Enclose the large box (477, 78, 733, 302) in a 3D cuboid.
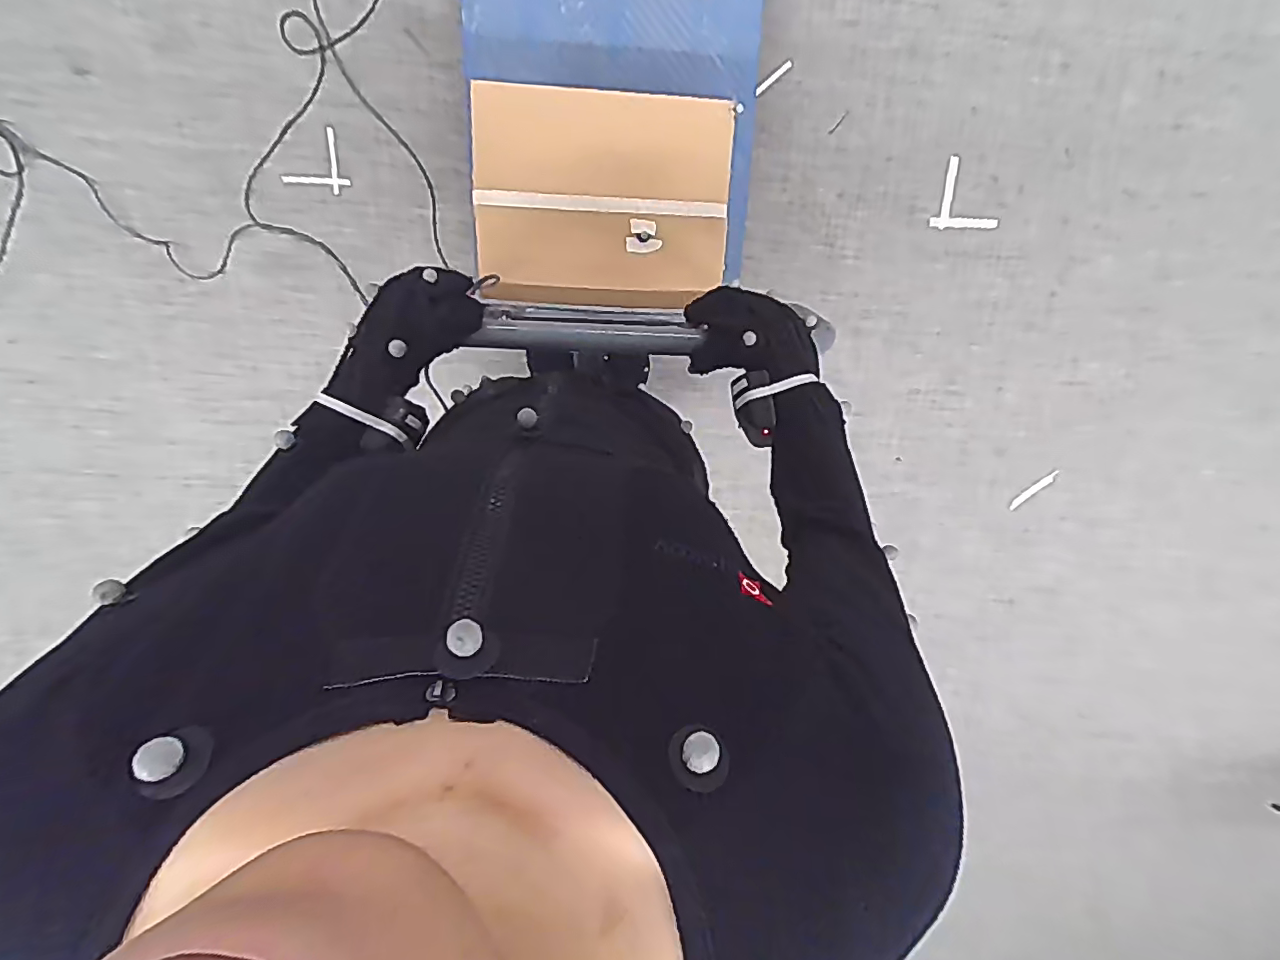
[{"bbox_3d":[-0.068,-0.506,1.019,0.408,0.320,0.320,1,108,-5],"label":"large box"}]
